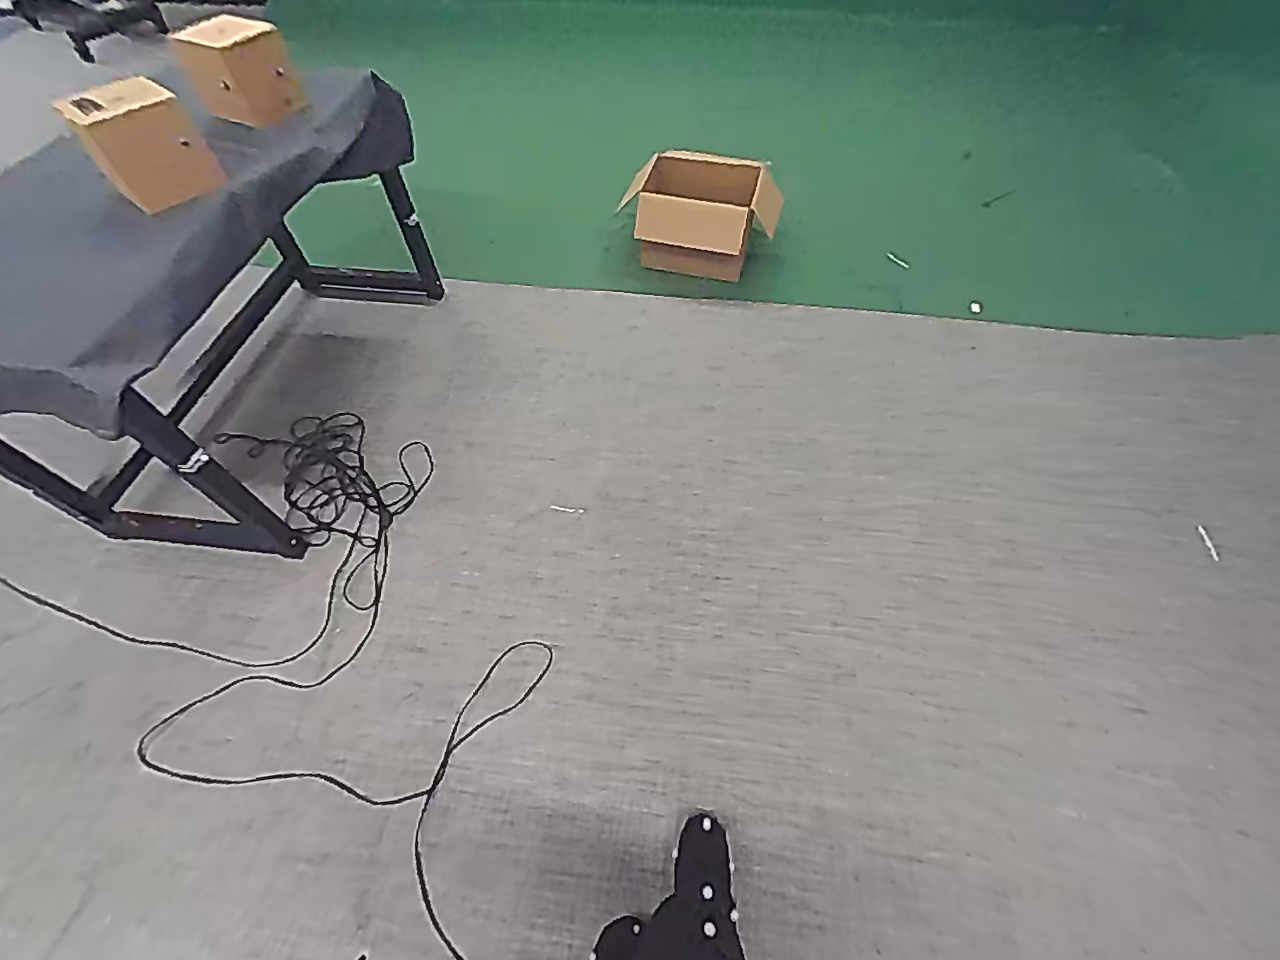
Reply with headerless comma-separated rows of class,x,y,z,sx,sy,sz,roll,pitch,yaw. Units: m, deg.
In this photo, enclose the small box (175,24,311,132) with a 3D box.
small box,-0.968,-0.990,1.337,0.179,0.176,0.168,21,57,16
